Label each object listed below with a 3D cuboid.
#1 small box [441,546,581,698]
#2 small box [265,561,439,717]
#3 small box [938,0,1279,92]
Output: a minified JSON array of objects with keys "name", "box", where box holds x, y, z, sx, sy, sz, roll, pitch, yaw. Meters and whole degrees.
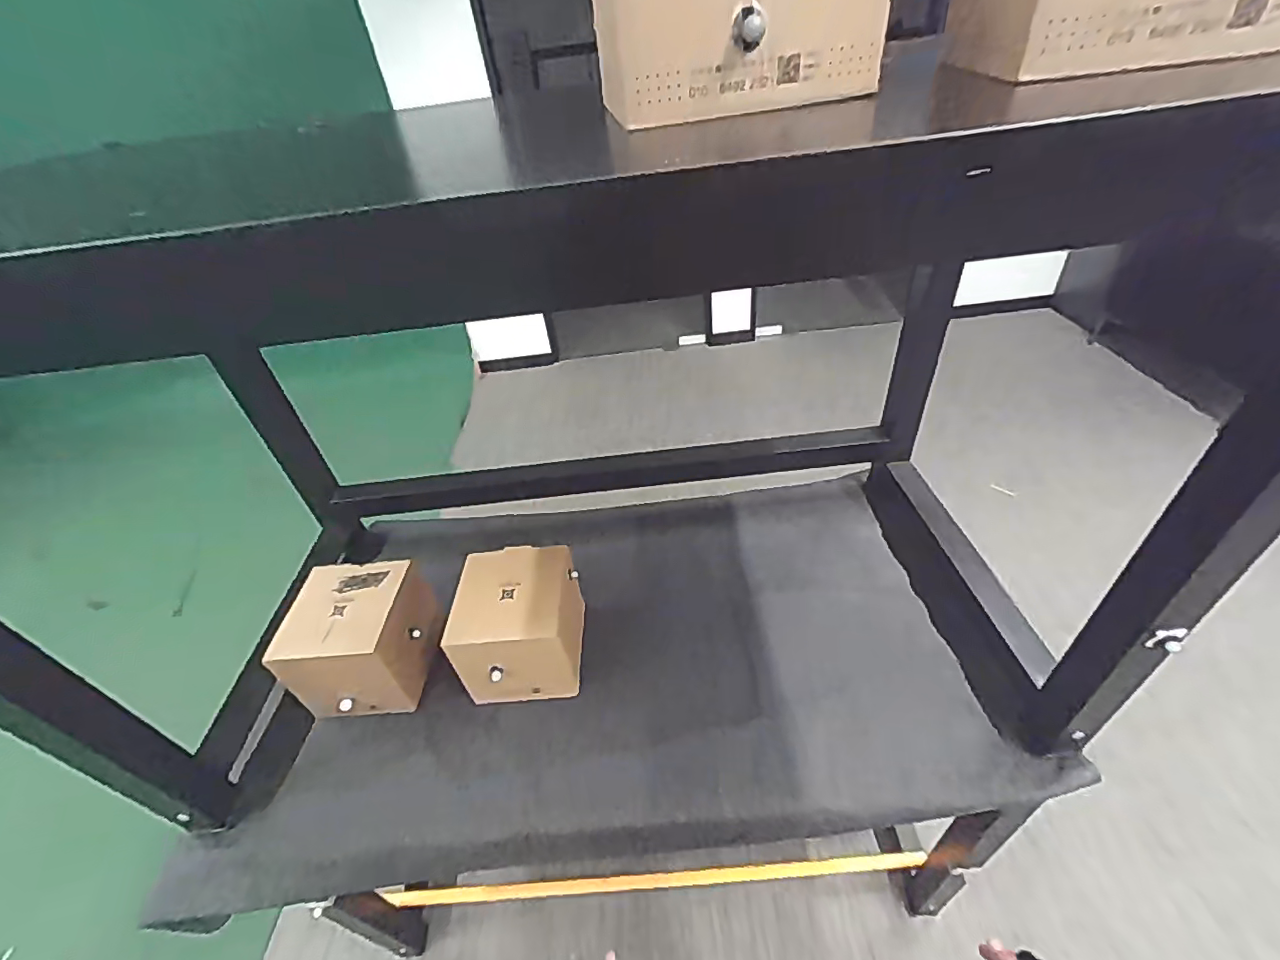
[{"name":"small box","box":[-0.191,0.231,0.862,0.168,0.176,0.179,-5,39,2]},{"name":"small box","box":[-0.442,0.254,0.869,0.168,0.176,0.179,-5,40,3]},{"name":"small box","box":[0.300,-0.341,0.317,0.168,0.176,0.179,1,40,11]}]
